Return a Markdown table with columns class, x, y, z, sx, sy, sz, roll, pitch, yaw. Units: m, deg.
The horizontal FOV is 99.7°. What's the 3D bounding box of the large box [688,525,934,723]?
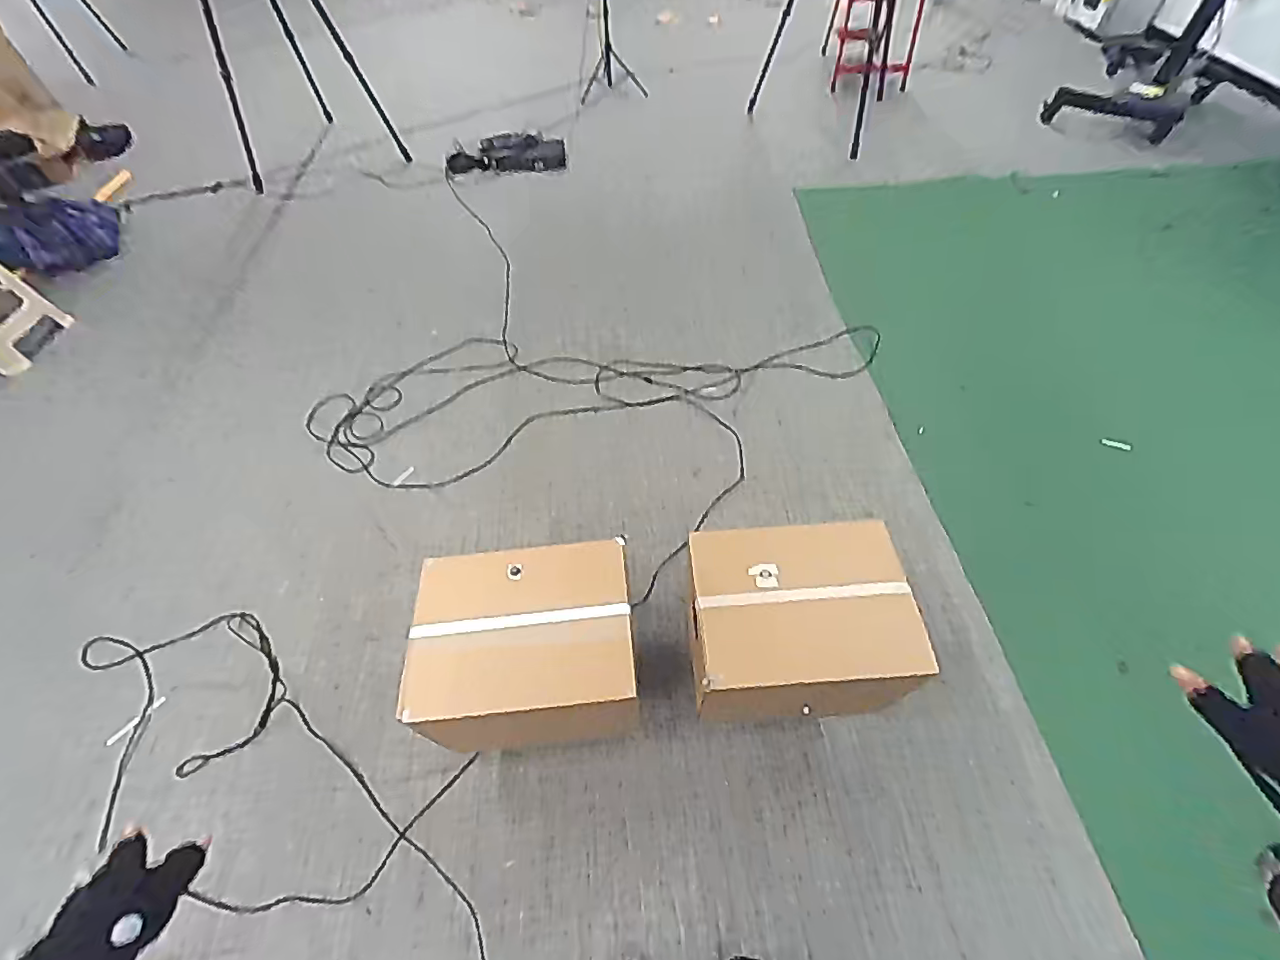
| class | x | y | z | sx | sy | sz | roll | pitch | yaw |
| --- | --- | --- | --- | --- | --- | --- | --- | --- | --- |
| large box | 0.322 | 0.317 | 1.157 | 0.408 | 0.320 | 0.320 | -4 | 54 | 0 |
